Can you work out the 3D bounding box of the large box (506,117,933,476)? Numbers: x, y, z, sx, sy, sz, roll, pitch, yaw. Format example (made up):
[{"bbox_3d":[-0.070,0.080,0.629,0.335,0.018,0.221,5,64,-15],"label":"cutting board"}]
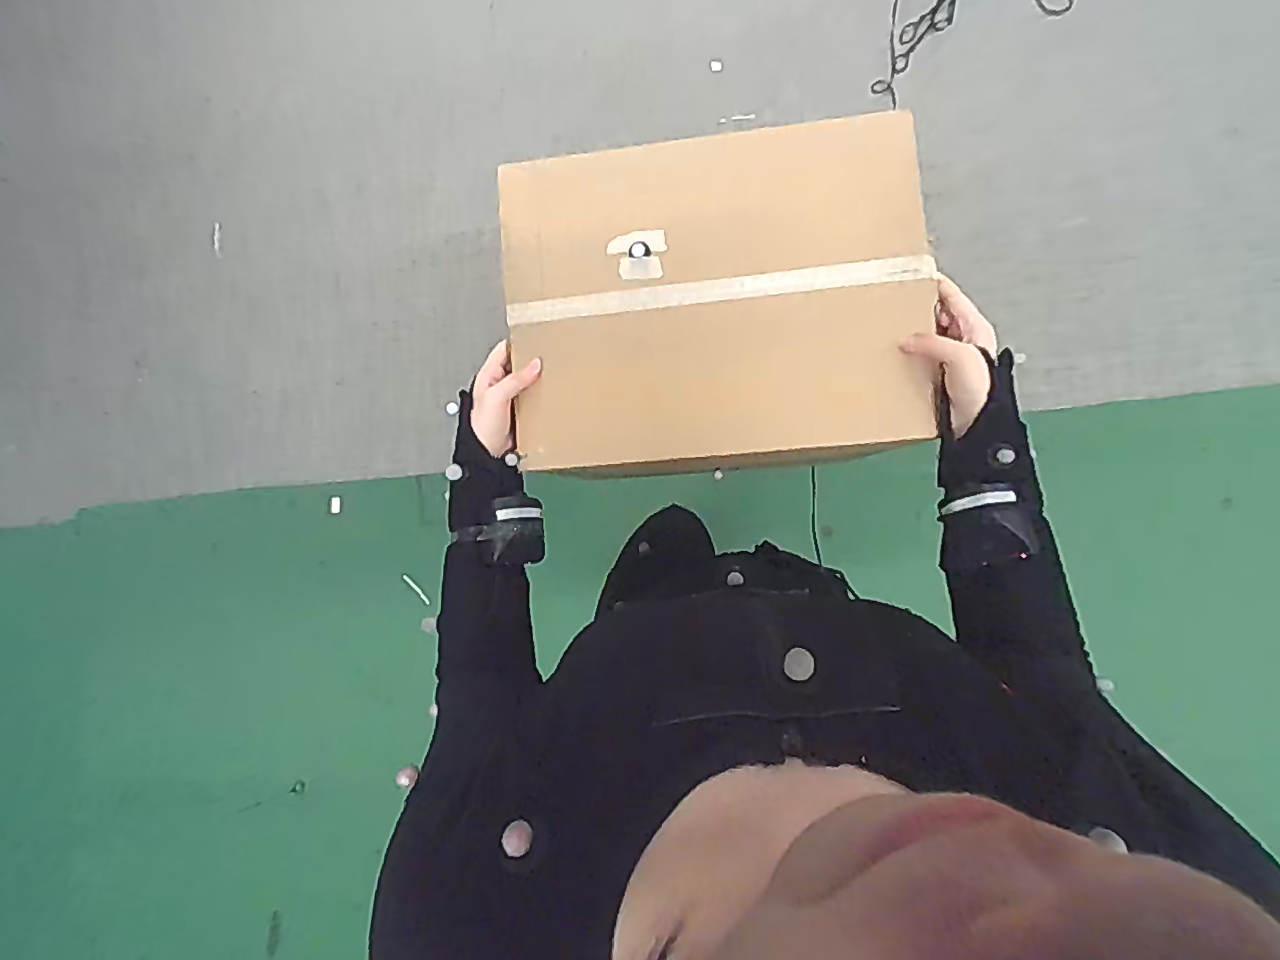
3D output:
[{"bbox_3d":[0.088,-0.176,0.683,0.408,0.320,0.320,-5,87,7],"label":"large box"}]
